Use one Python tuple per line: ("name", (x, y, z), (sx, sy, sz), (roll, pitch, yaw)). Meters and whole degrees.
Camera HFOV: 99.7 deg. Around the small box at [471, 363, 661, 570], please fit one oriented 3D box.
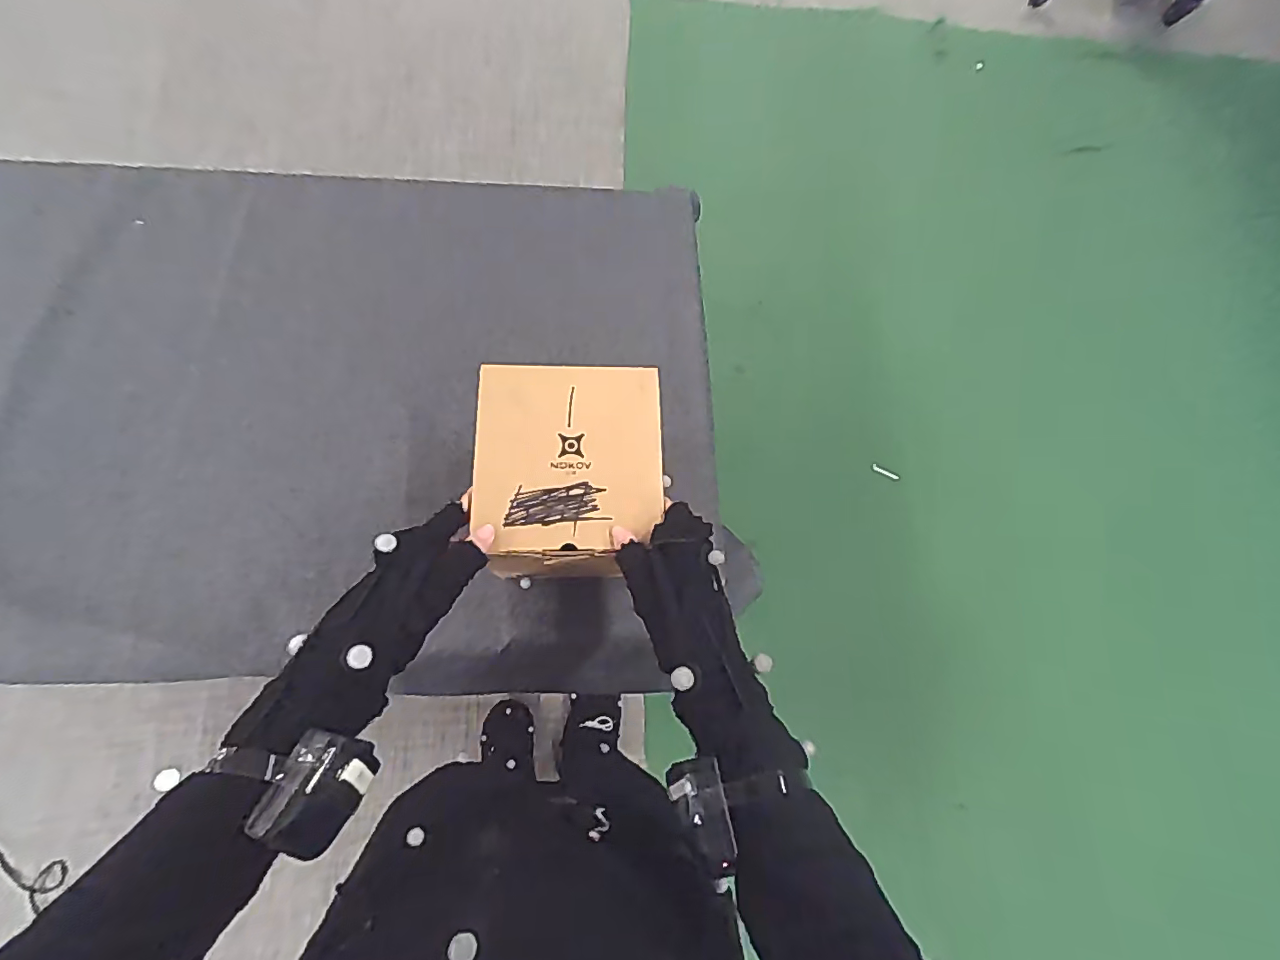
("small box", (-0.068, -0.002, 0.558), (0.168, 0.176, 0.179), (0, 73, -5))
